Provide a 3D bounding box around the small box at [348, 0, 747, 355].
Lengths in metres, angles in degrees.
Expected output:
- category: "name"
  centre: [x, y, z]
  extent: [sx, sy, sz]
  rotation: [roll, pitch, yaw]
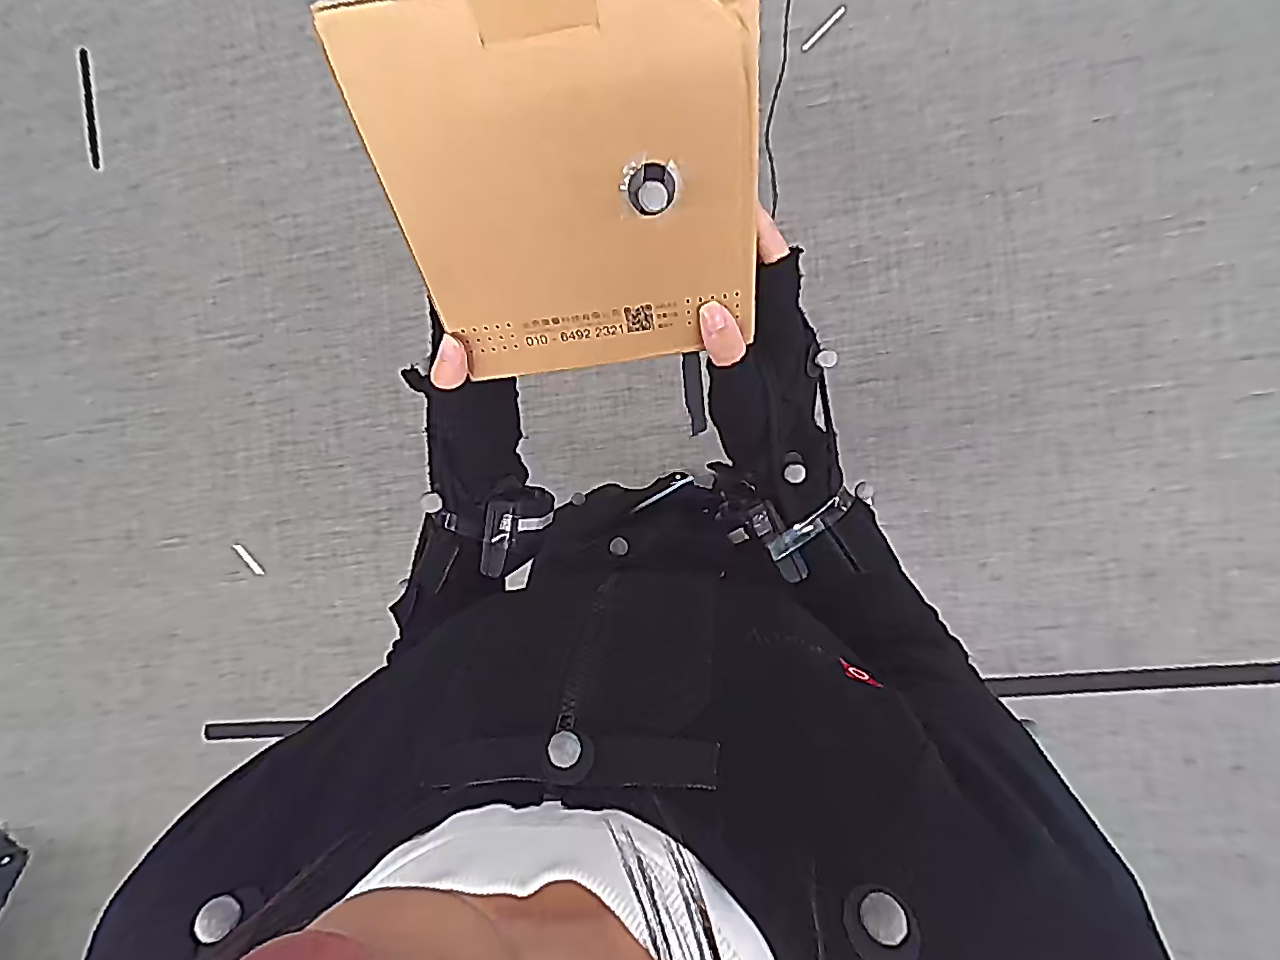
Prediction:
- category: "small box"
  centre: [-0.028, -0.188, 0.324]
  extent: [0.168, 0.176, 0.179]
  rotation: [-6, 46, 5]
